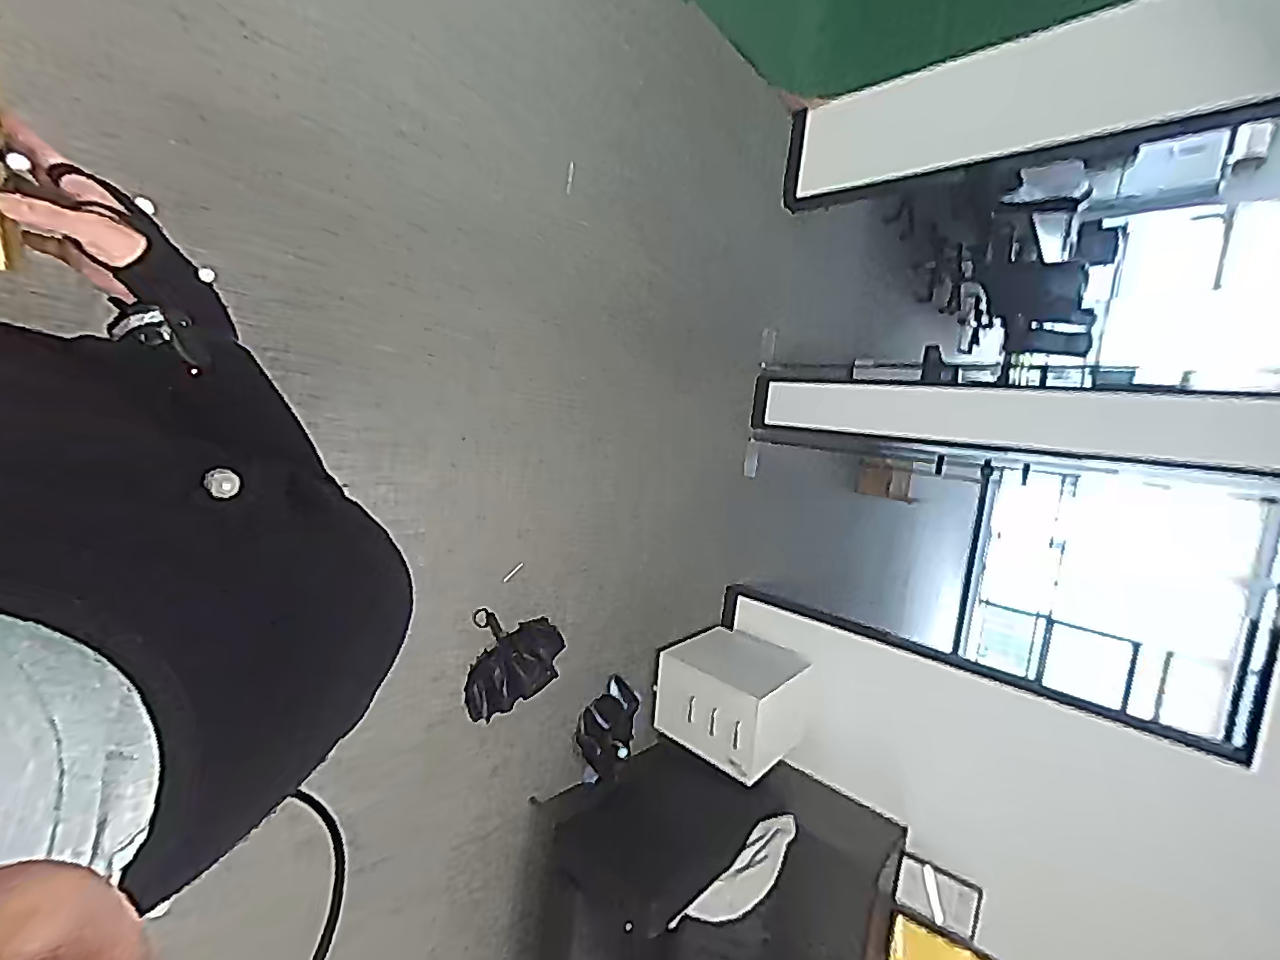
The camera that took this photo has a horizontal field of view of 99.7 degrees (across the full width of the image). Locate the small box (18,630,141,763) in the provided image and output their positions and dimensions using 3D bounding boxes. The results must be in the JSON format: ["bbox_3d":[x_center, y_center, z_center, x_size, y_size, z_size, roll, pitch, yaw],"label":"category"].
[{"bbox_3d":[-1.162,0.438,1.123,0.168,0.176,0.179,-5,102,-50],"label":"small box"}]
